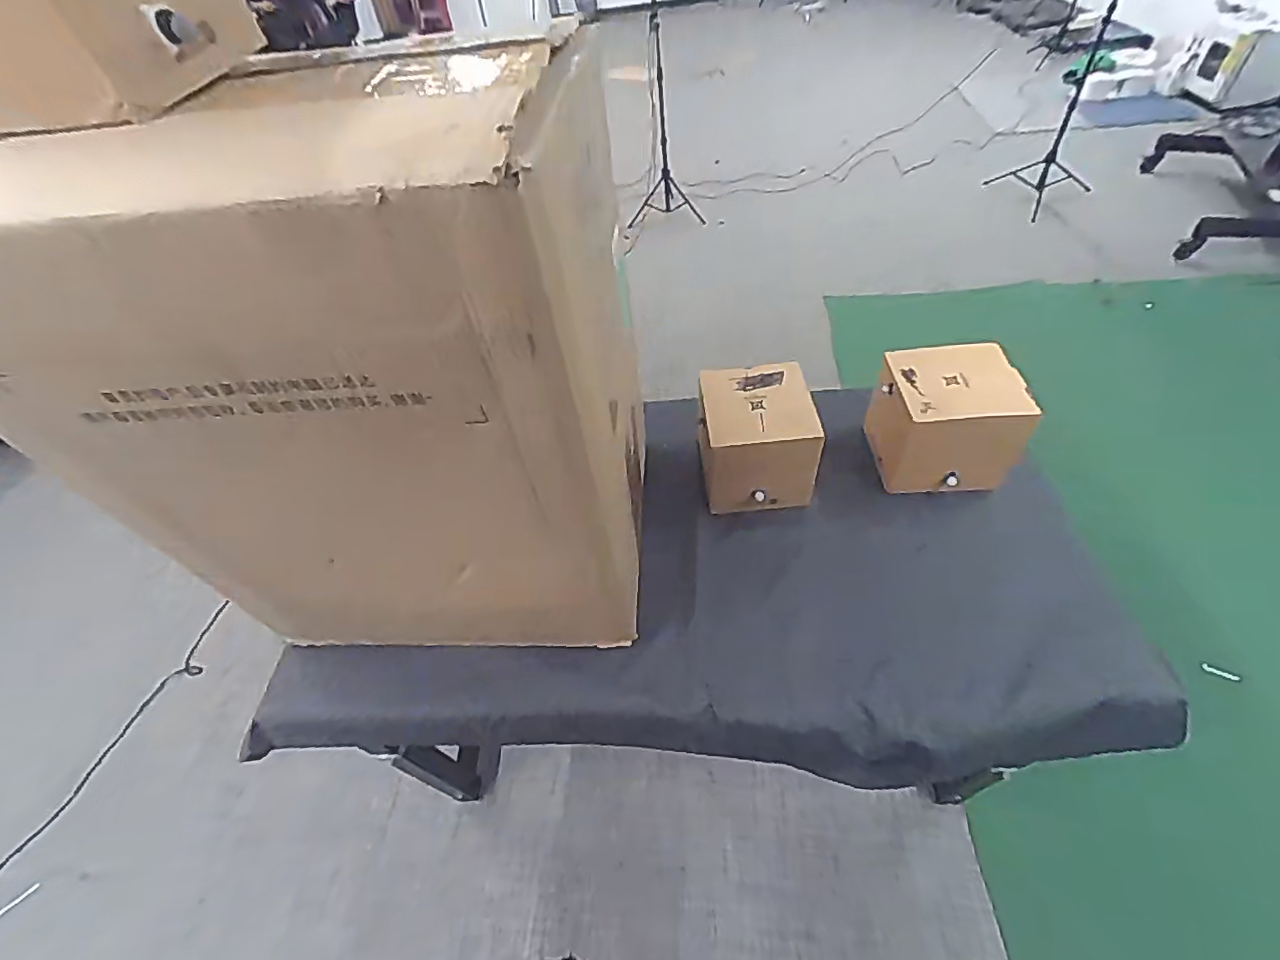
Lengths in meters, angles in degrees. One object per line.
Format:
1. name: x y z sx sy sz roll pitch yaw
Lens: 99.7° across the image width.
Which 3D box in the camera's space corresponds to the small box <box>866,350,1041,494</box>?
1. small box: 0.493 -0.091 0.883 0.179 0.176 0.168 -2 49 6
